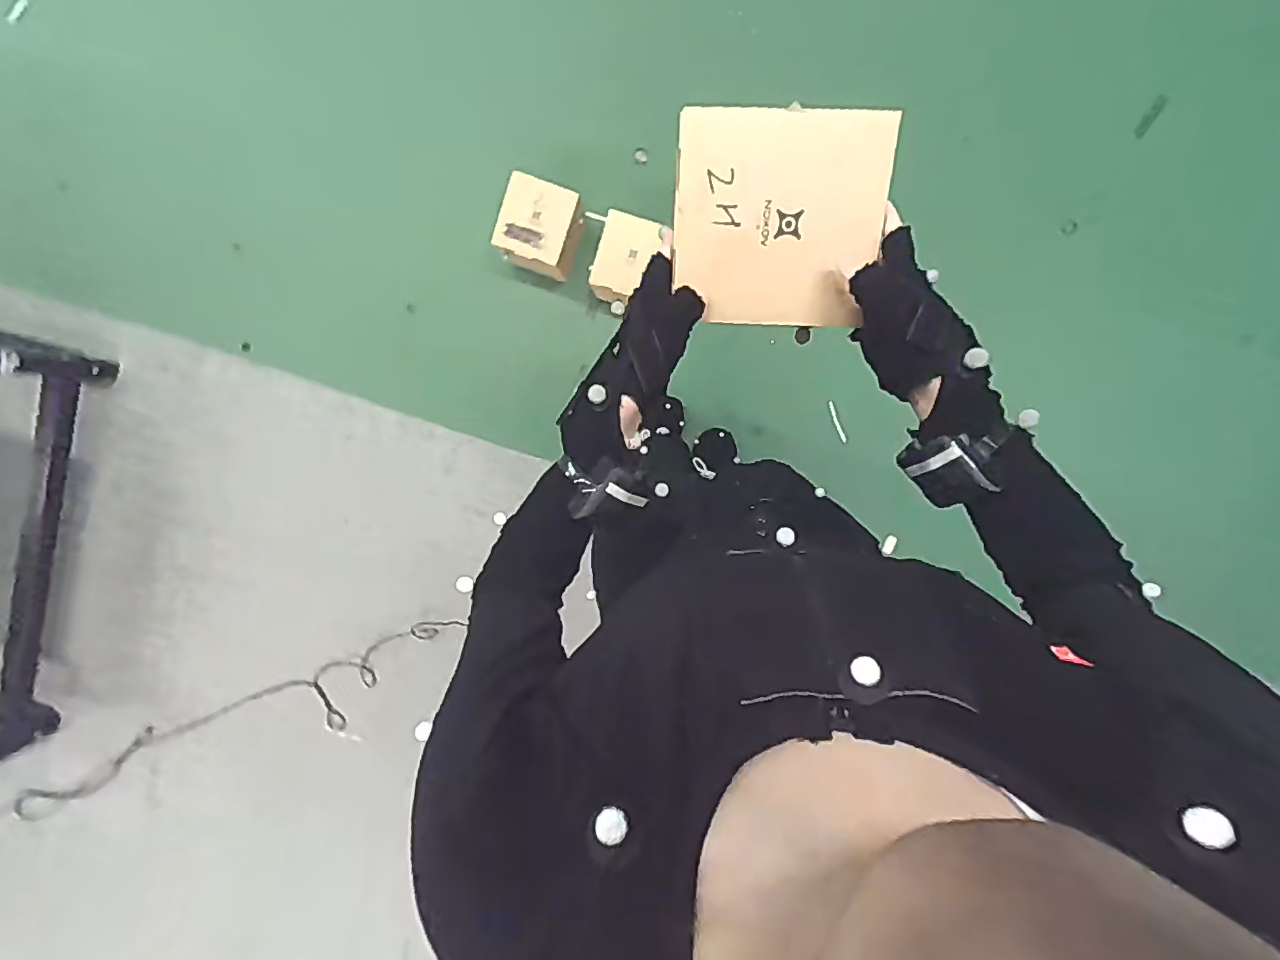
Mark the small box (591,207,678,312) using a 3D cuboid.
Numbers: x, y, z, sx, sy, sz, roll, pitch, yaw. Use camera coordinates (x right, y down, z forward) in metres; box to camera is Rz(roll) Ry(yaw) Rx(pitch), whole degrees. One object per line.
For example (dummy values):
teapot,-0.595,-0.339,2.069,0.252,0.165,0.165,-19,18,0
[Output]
small box,-0.013,-0.539,1.347,0.168,0.176,0.179,18,98,-1
